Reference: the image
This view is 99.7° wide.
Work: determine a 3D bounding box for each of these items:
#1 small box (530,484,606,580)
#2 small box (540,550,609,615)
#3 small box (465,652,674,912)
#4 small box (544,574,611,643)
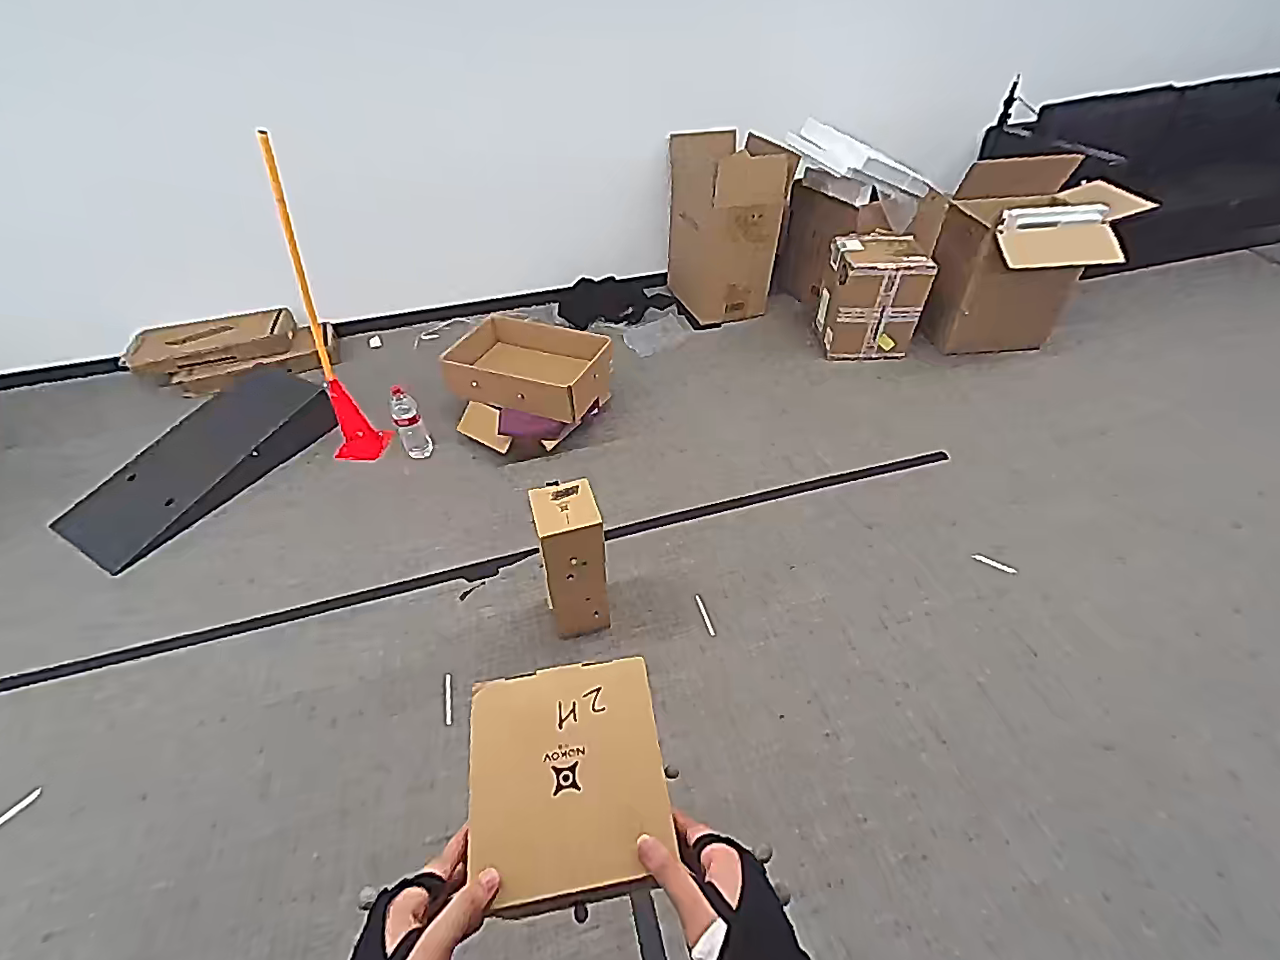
[{"bbox_3d":[-0.194,0.141,1.468,0.168,0.176,0.179,-14,45,-12],"label":"small box"},{"bbox_3d":[-0.194,0.262,1.580,0.168,0.176,0.179,-14,43,-12],"label":"small box"},{"bbox_3d":[-0.063,0.294,0.525,0.168,0.176,0.179,-9,50,-6],"label":"small box"},{"bbox_3d":[-0.191,0.381,1.692,0.179,0.176,0.168,-13,44,-10],"label":"small box"}]
